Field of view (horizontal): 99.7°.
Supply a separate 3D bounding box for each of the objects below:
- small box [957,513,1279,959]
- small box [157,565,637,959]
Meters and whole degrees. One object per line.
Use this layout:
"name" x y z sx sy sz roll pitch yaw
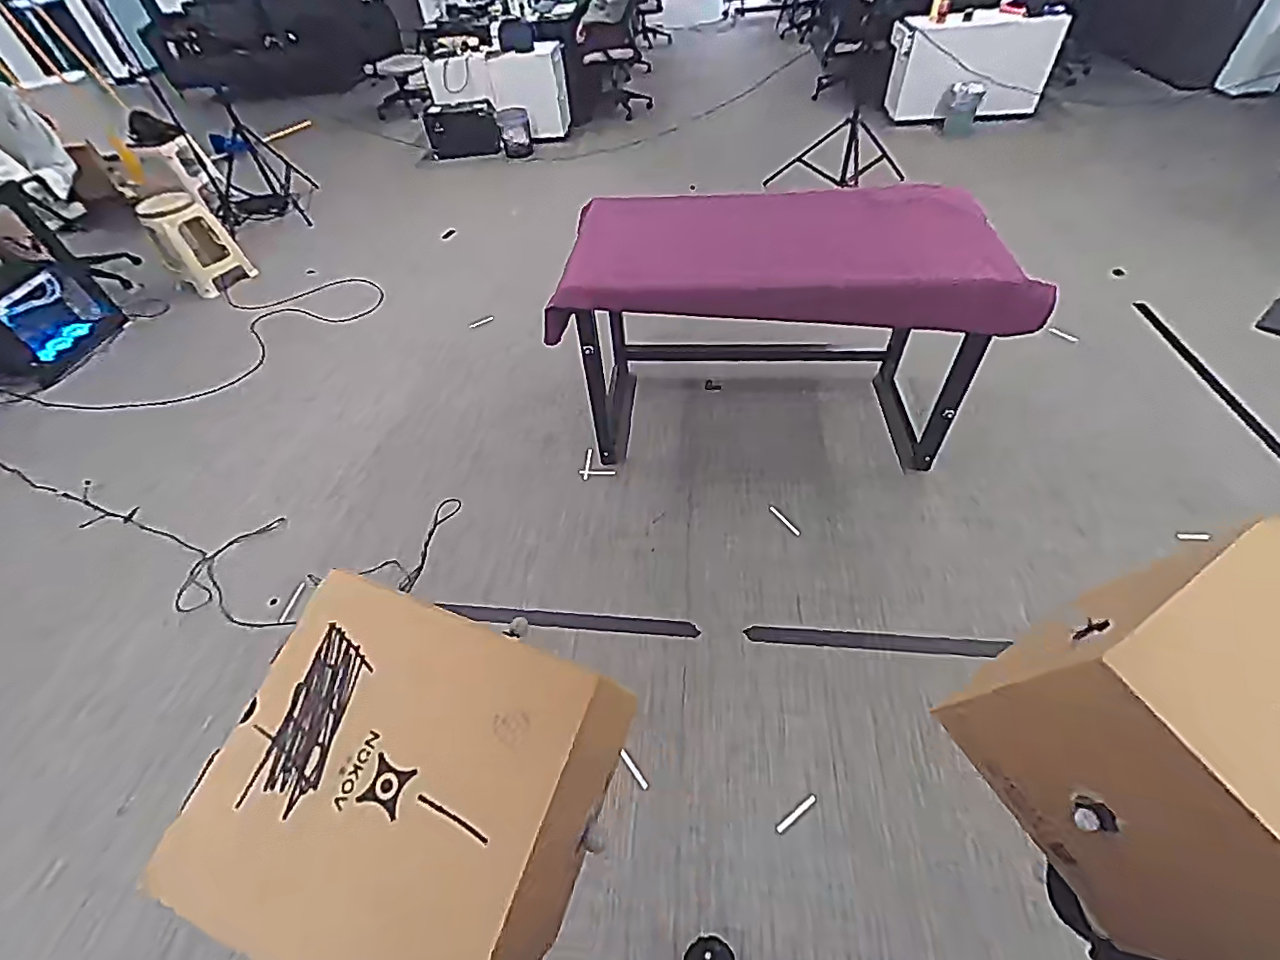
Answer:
"small box" 0.338 0.156 0.333 0.179 0.176 0.168 -25 64 -18
"small box" -0.116 0.176 0.338 0.179 0.176 0.168 17 68 14
